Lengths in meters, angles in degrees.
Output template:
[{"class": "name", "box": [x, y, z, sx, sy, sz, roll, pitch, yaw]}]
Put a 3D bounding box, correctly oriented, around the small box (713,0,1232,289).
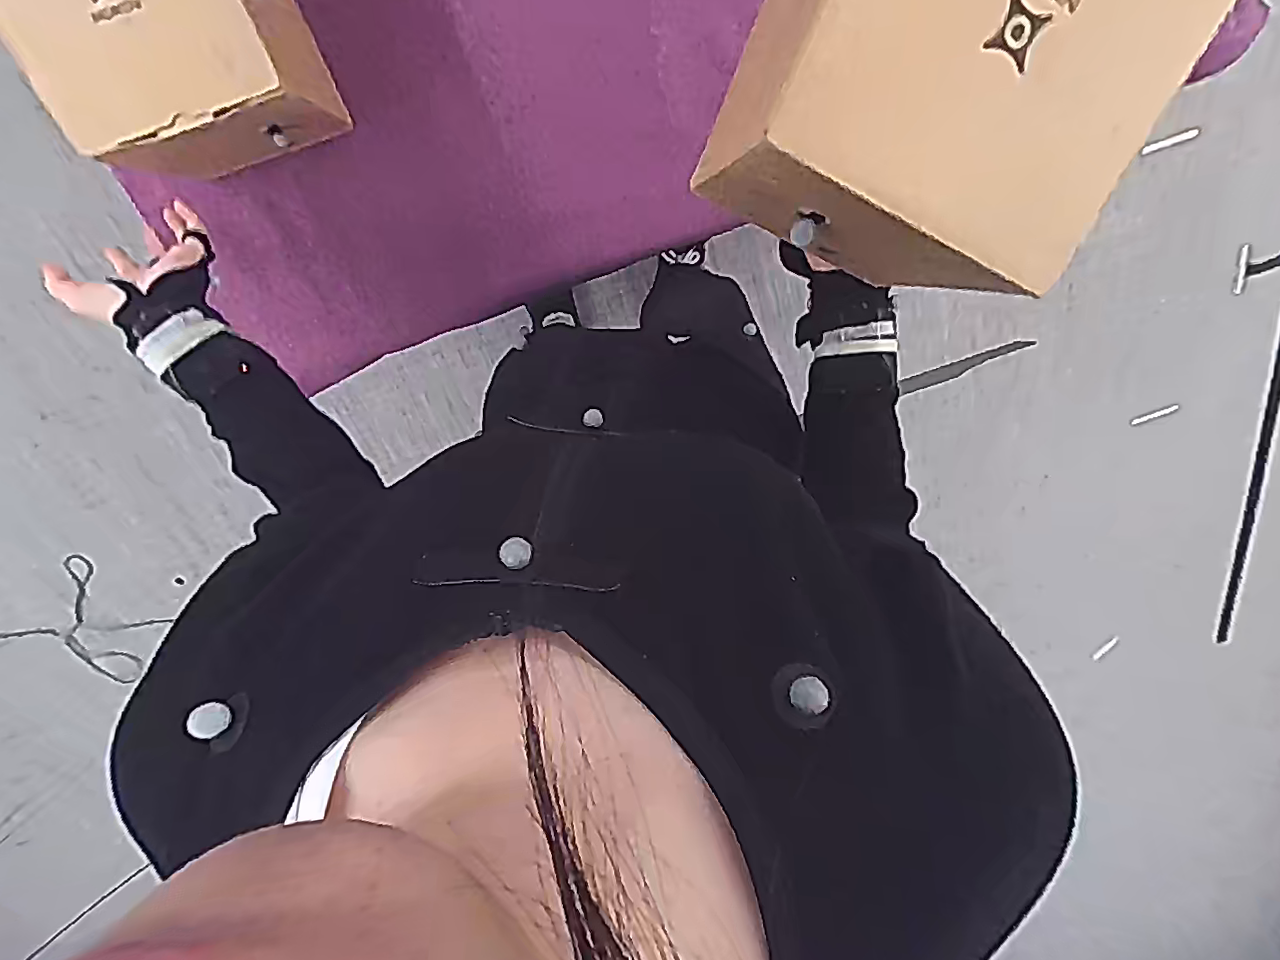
[{"class": "small box", "box": [0.155, -0.225, 0.304, 0.168, 0.176, 0.179, 20, 107, -14]}]
